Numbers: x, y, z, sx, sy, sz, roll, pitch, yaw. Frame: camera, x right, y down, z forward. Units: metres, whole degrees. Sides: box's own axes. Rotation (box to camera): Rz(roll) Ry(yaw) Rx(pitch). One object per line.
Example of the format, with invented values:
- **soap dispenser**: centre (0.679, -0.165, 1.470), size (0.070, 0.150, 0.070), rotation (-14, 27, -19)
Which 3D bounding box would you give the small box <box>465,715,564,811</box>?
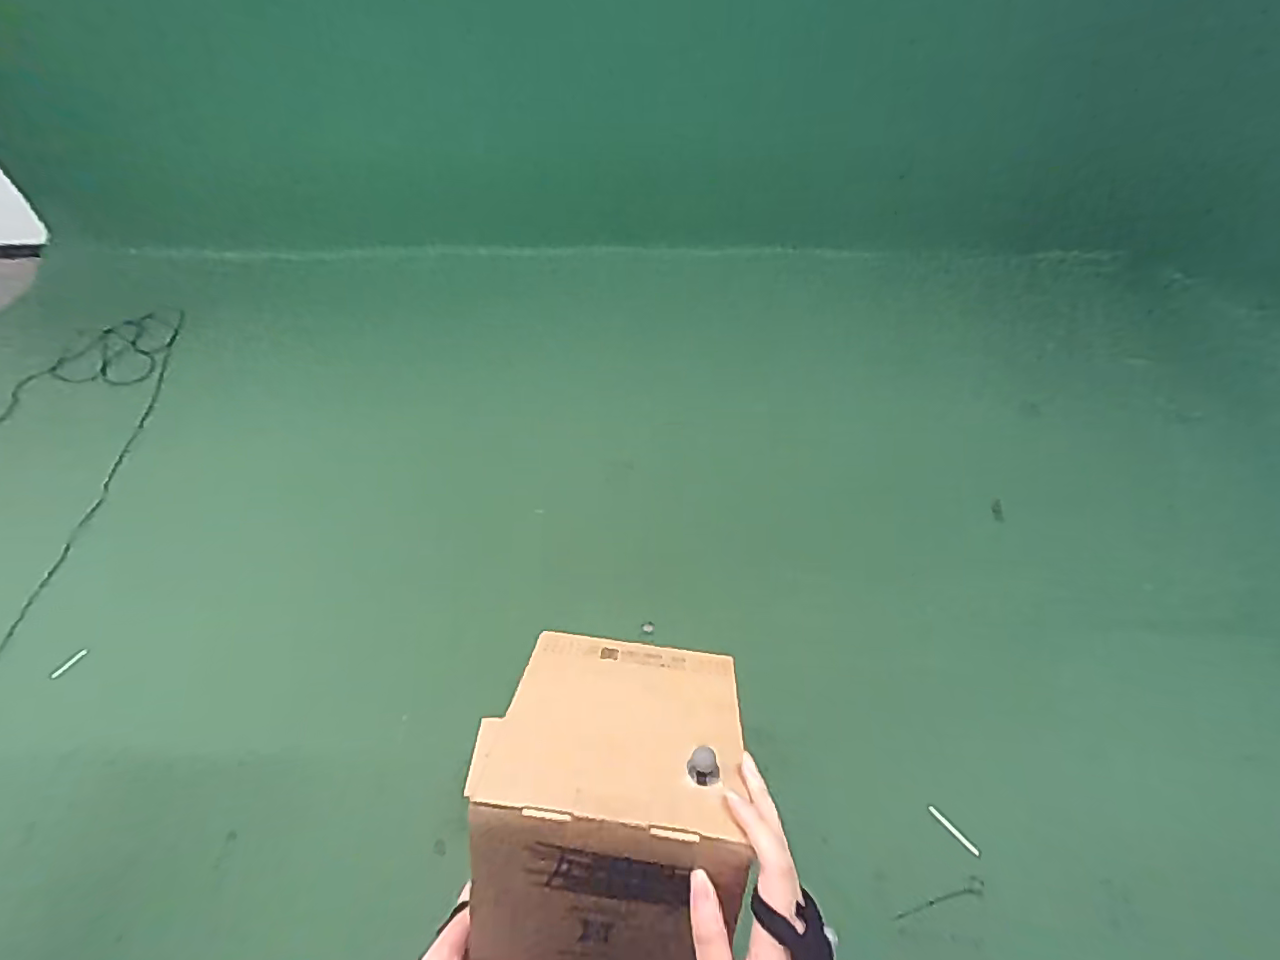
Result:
- **small box**: centre (-0.286, 0.675, 1.283), size (0.179, 0.176, 0.168), rotation (1, 50, 5)
